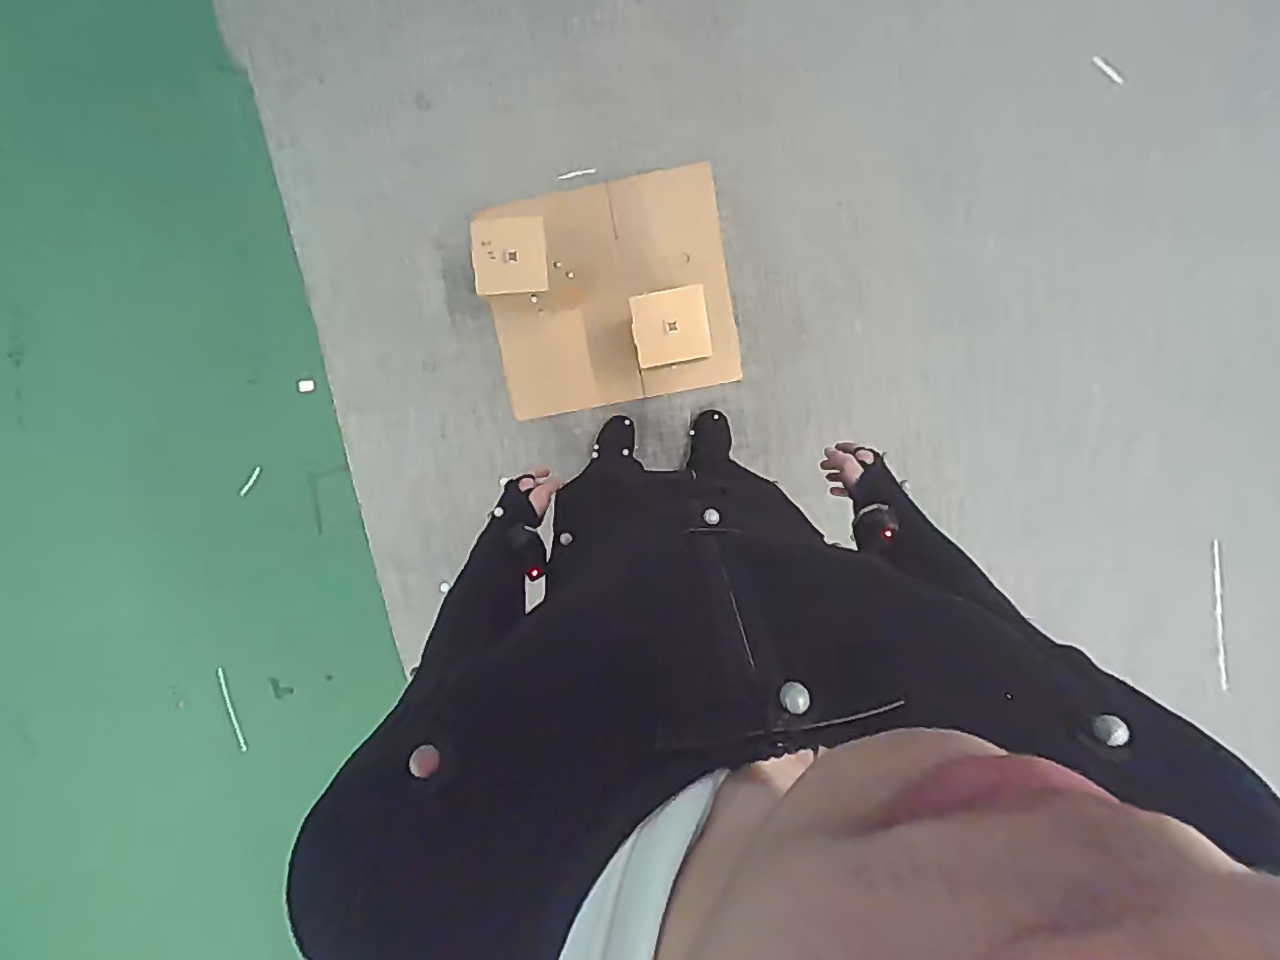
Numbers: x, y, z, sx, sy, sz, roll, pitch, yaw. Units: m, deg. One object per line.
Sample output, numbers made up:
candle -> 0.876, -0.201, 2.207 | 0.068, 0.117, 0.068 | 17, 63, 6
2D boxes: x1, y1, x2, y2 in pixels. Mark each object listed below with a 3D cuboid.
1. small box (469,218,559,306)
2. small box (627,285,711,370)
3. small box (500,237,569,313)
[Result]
small box -> -0.298, -0.524, 1.318 | 0.179, 0.176, 0.168 | -2, 98, 4
small box -> 0.073, -0.367, 1.326 | 0.179, 0.176, 0.168 | -10, 99, 7
small box -> -0.292, -0.556, 1.481 | 0.179, 0.176, 0.168 | -2, 98, 4
